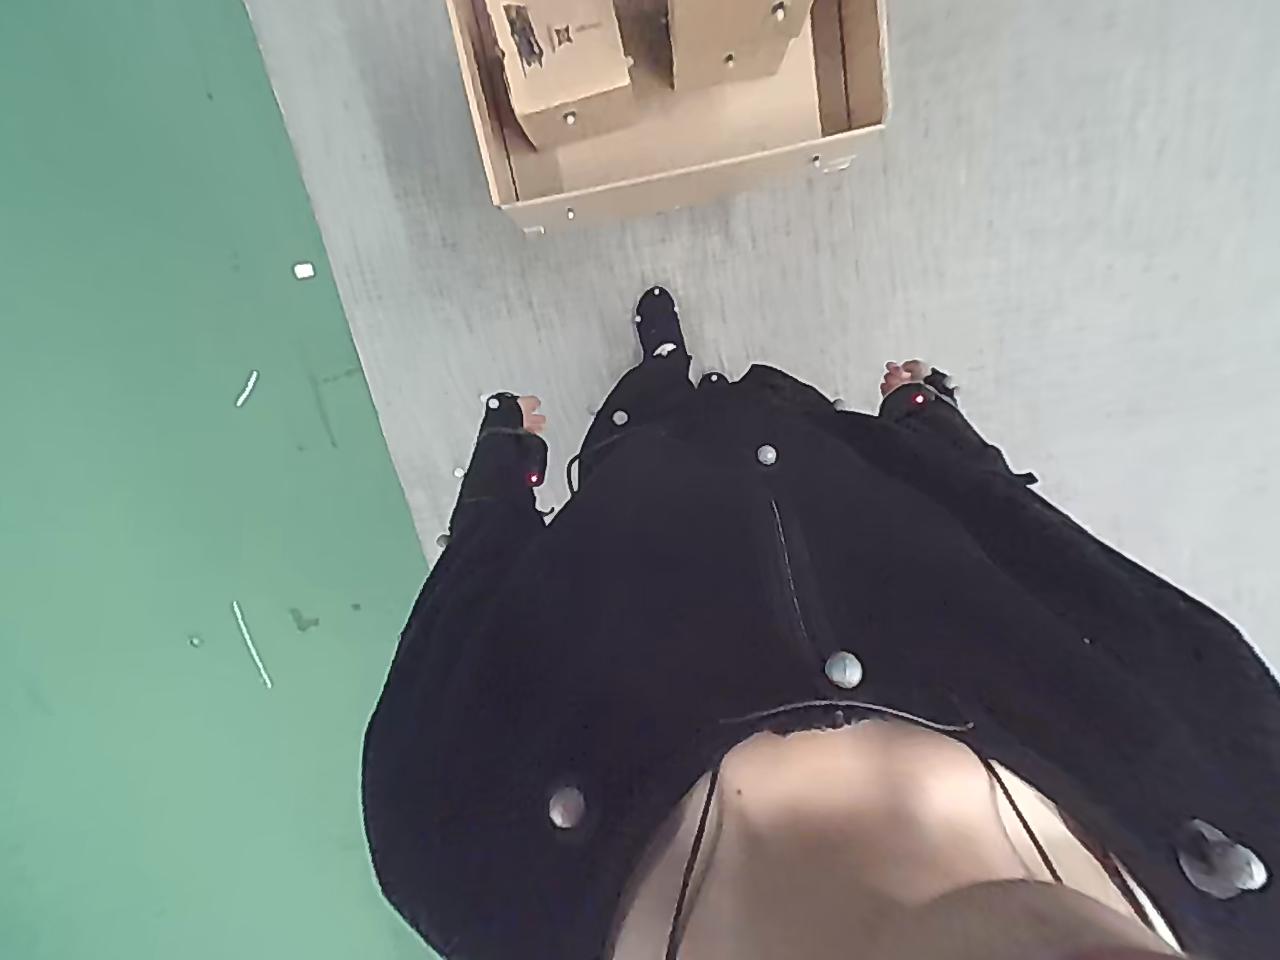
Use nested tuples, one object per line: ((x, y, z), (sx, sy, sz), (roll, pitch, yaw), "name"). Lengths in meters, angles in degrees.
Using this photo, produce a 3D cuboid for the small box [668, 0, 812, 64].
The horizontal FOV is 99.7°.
((0.119, -0.651, 0.661), (0.179, 0.176, 0.168), (-5, 104, 6), "small box")
